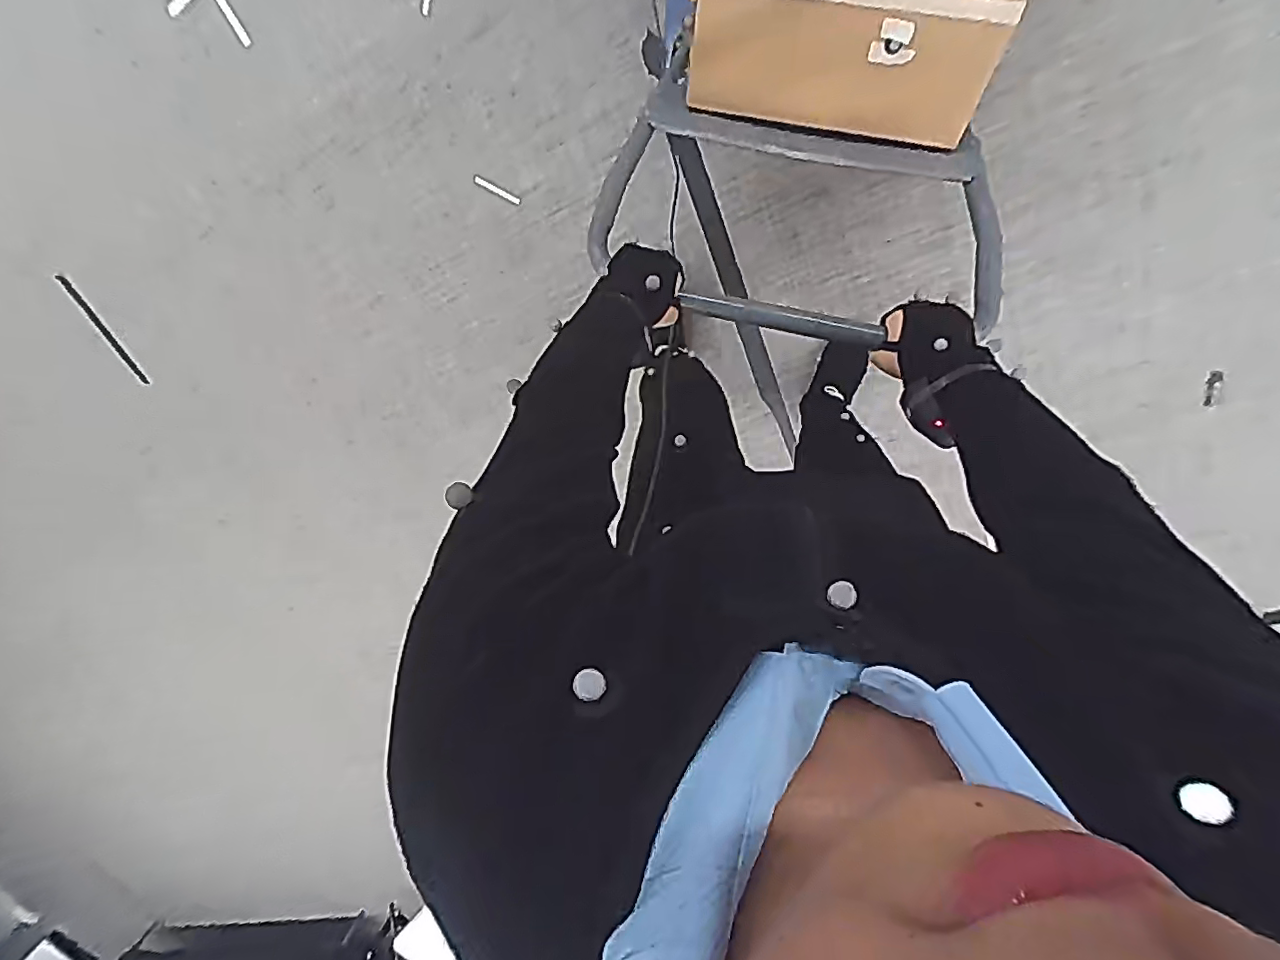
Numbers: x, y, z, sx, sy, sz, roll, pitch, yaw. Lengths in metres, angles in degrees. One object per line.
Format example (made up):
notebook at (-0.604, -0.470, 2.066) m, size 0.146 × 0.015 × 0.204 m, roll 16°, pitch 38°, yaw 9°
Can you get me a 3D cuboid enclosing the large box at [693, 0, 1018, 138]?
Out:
large box at (0.310, -0.748, 0.790) m, size 0.408 × 0.320 × 0.320 m, roll 12°, pitch 142°, yaw 5°
